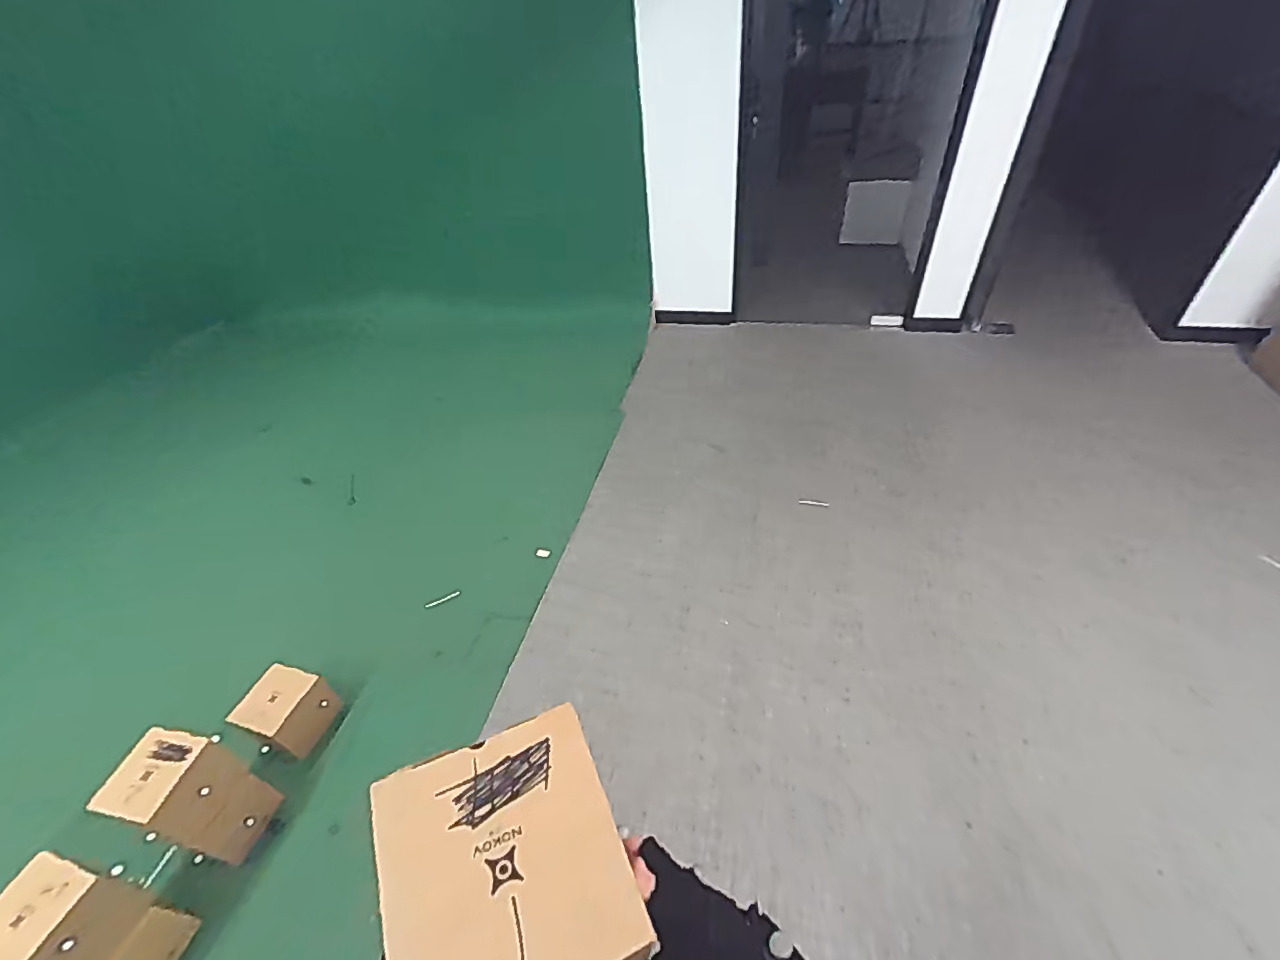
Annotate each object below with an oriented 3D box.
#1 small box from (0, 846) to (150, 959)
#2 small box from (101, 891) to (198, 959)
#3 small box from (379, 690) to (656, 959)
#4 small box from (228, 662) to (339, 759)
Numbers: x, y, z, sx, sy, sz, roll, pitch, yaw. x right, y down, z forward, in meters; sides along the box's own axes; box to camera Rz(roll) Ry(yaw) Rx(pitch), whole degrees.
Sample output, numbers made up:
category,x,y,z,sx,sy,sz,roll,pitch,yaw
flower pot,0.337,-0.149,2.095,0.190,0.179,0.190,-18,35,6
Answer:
category,x,y,z,sx,sy,sz,roll,pitch,yaw
small box,-1.137,0.862,1.056,0.168,0.176,0.179,9,44,16
small box,-1.116,0.991,1.157,0.179,0.176,0.168,10,44,17
small box,-0.099,0.314,0.447,0.168,0.176,0.179,-16,48,-18
small box,-0.988,0.649,1.523,0.168,0.176,0.179,9,44,17
